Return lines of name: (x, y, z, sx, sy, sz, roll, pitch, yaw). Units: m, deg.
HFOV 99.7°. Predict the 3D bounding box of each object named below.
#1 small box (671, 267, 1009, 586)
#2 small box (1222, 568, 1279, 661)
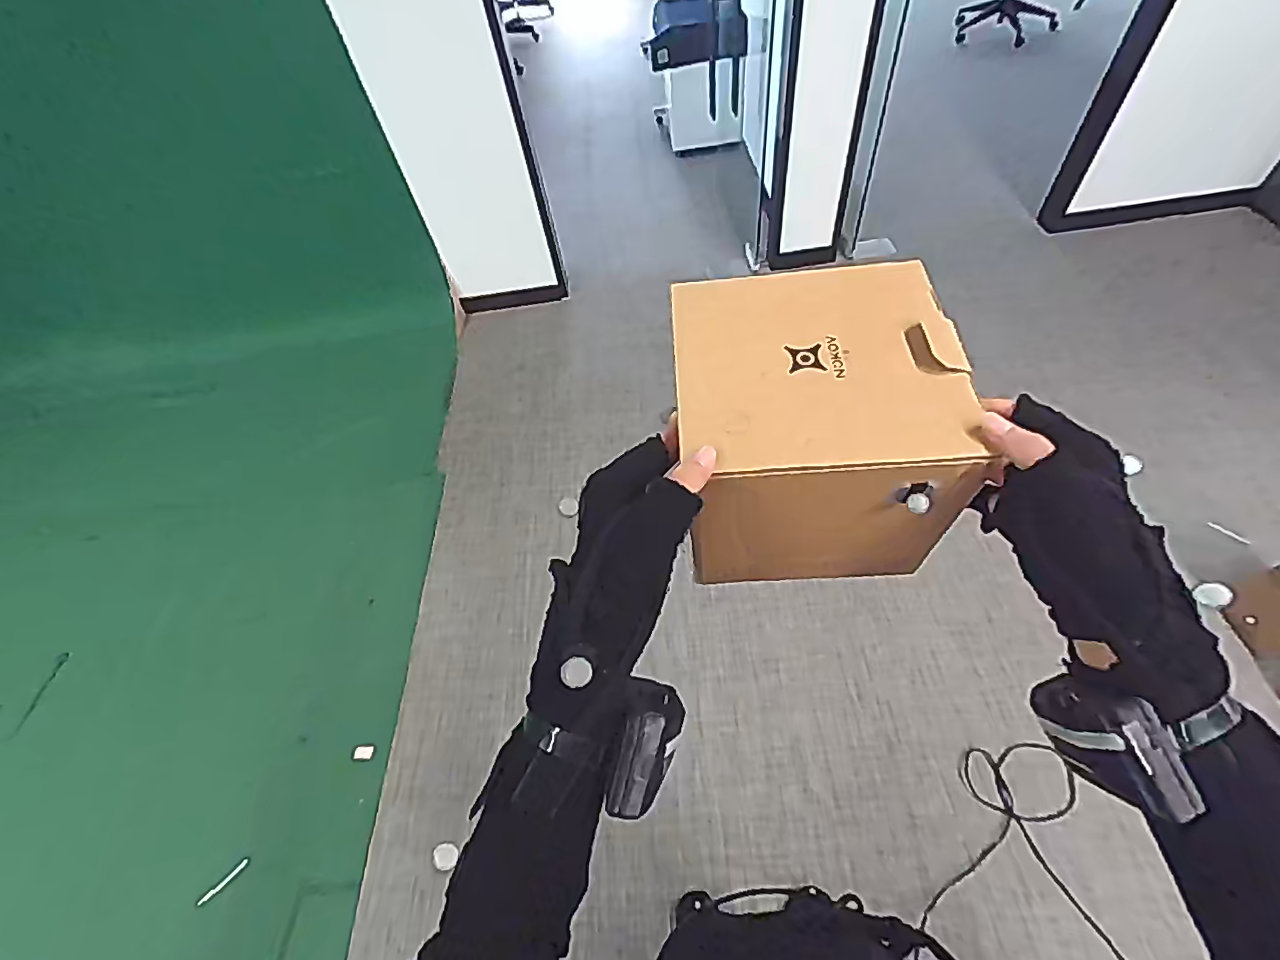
small box: (0.119, -0.028, 0.401, 0.179, 0.176, 0.168, -4, 58, 5)
small box: (1.552, 0.311, 1.259, 0.179, 0.176, 0.168, -6, 52, 4)
